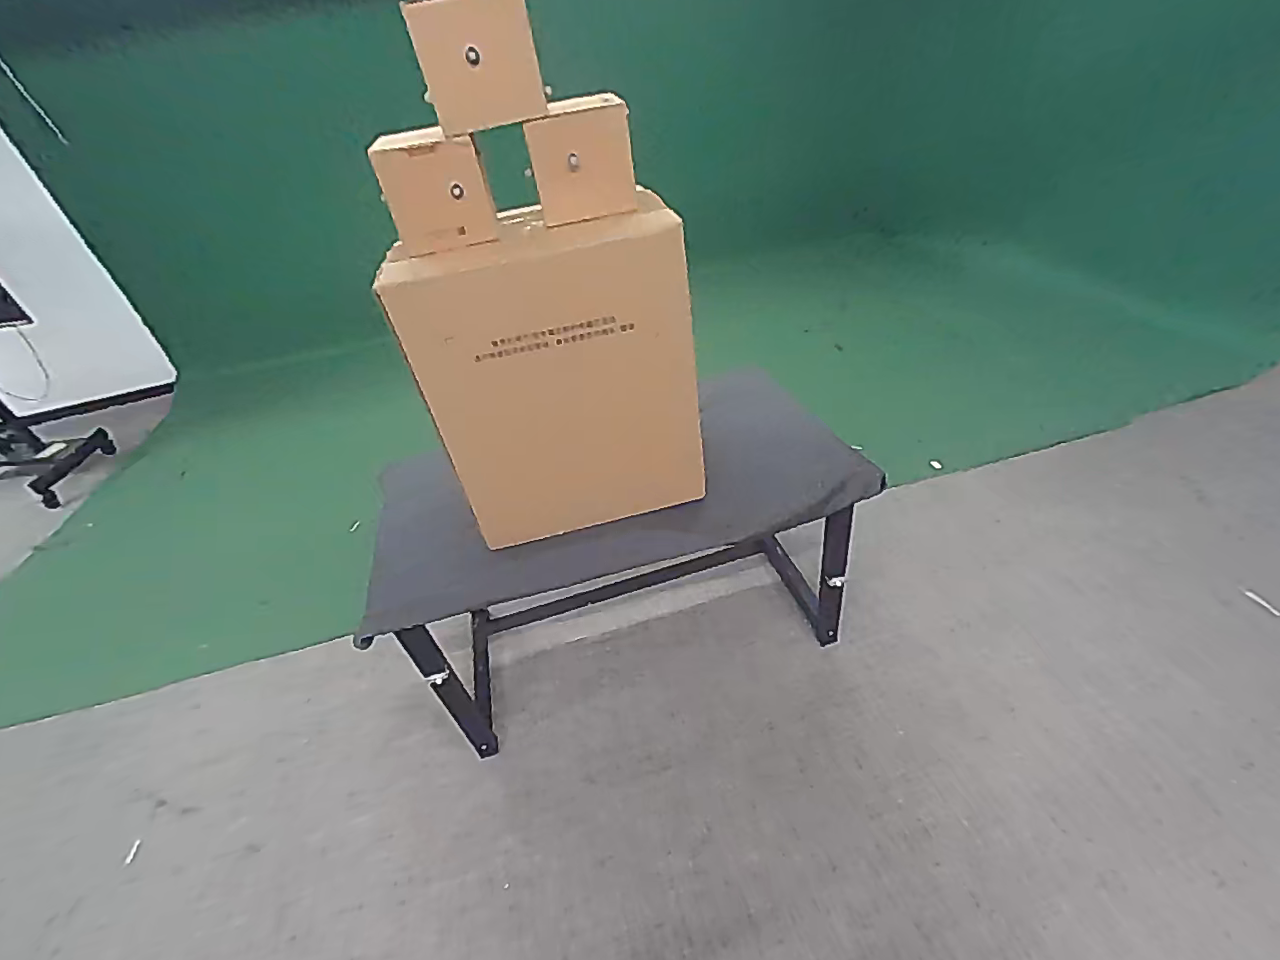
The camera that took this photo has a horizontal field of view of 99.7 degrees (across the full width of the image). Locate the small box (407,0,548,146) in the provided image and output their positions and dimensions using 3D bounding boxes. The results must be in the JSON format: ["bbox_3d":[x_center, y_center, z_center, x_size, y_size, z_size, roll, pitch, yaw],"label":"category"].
[{"bbox_3d":[-0.256,-0.671,0.891,0.179,0.176,0.168,-16,40,-4],"label":"small box"}]

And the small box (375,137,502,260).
[{"bbox_3d":[-0.355,-0.516,0.988,0.168,0.176,0.179,-13,39,-6],"label":"small box"}]

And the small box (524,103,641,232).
[{"bbox_3d":[-0.107,-0.579,1.007,0.179,0.176,0.168,-14,41,-3],"label":"small box"}]
